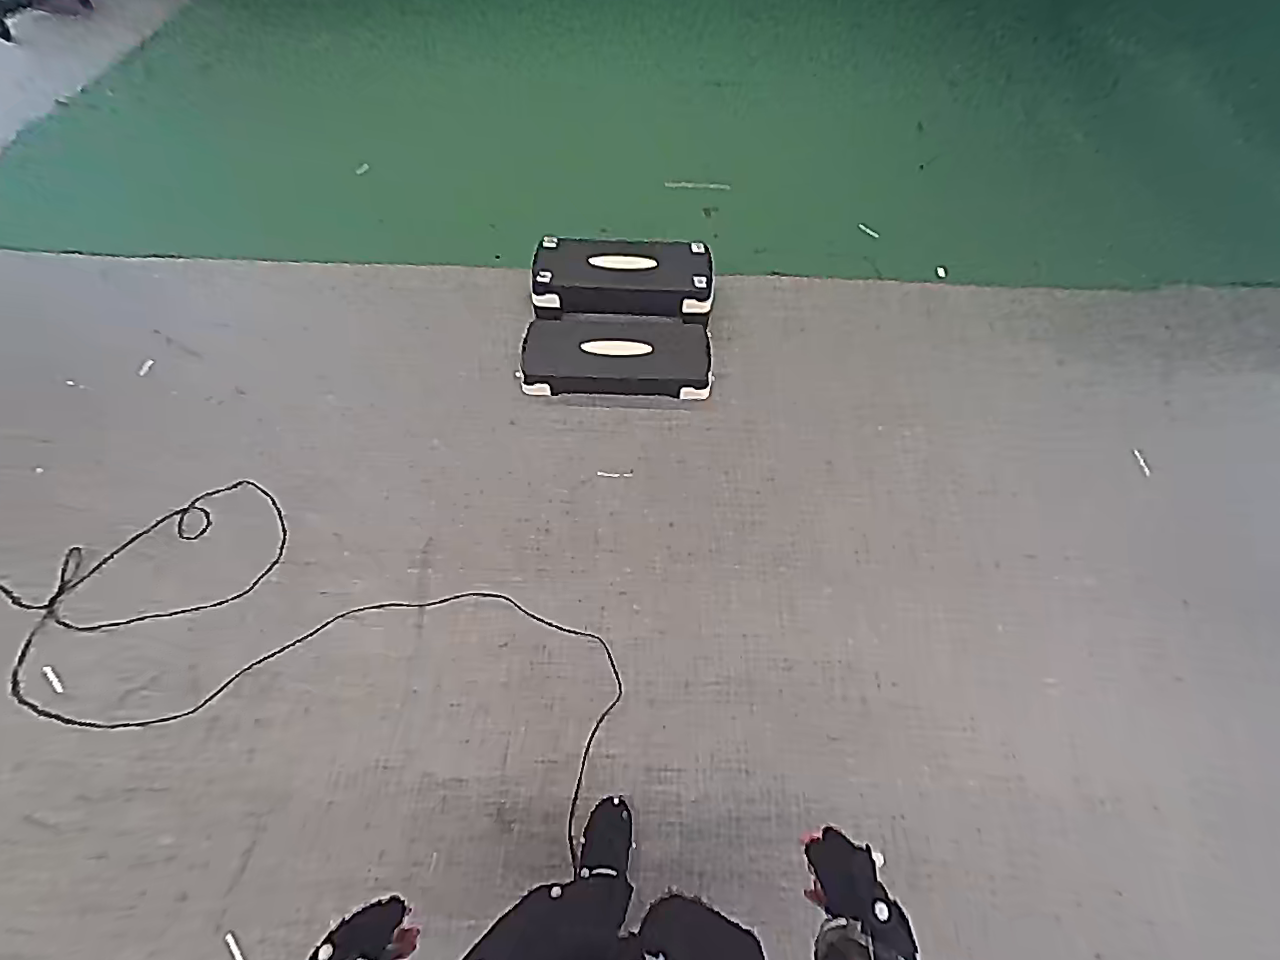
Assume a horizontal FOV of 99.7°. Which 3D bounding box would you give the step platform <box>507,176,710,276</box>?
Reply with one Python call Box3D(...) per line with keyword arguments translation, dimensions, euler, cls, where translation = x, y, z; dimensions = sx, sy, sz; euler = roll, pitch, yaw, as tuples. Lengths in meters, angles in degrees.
Box3D(translation=(-0.105, -0.887, 1.900), dimensions=(0.684, 0.204, 0.286), euler=(1, 59, 0), cls="step platform")
